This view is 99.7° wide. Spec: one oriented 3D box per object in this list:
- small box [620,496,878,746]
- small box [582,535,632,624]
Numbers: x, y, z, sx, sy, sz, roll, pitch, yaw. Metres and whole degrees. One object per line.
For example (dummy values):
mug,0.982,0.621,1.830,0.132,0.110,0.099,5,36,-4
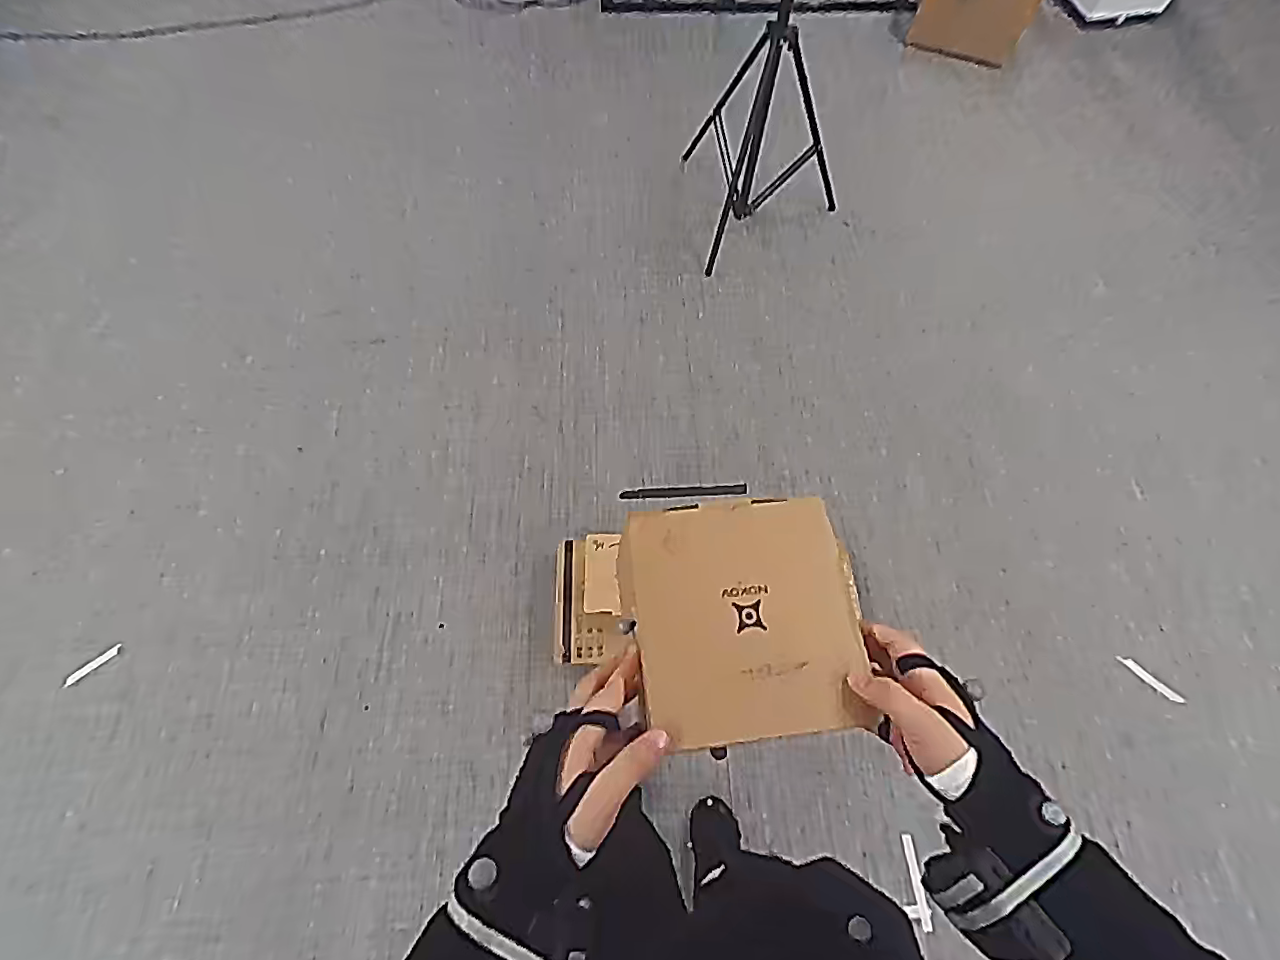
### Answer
small box,0.074,0.129,0.482,0.168,0.176,0.179,-5,68,-7
small box,-0.041,0.233,1.236,0.168,0.176,0.179,1,66,-2
